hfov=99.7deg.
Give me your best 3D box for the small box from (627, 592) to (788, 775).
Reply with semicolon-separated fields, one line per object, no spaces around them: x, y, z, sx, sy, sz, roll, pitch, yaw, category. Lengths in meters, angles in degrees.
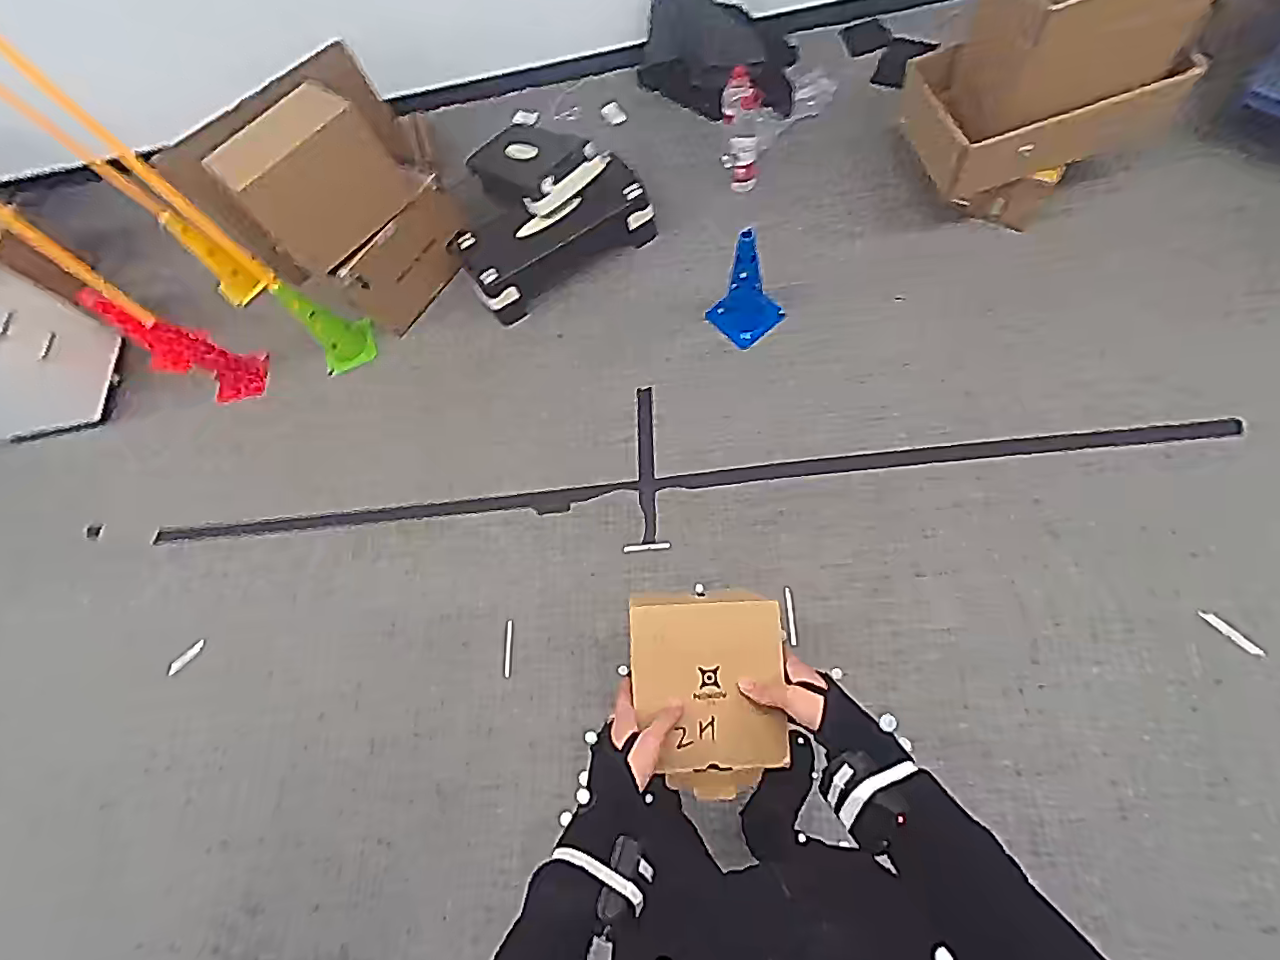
0.069;0.228;0.651;0.168;0.176;0.179;-3;83;-1;small box
